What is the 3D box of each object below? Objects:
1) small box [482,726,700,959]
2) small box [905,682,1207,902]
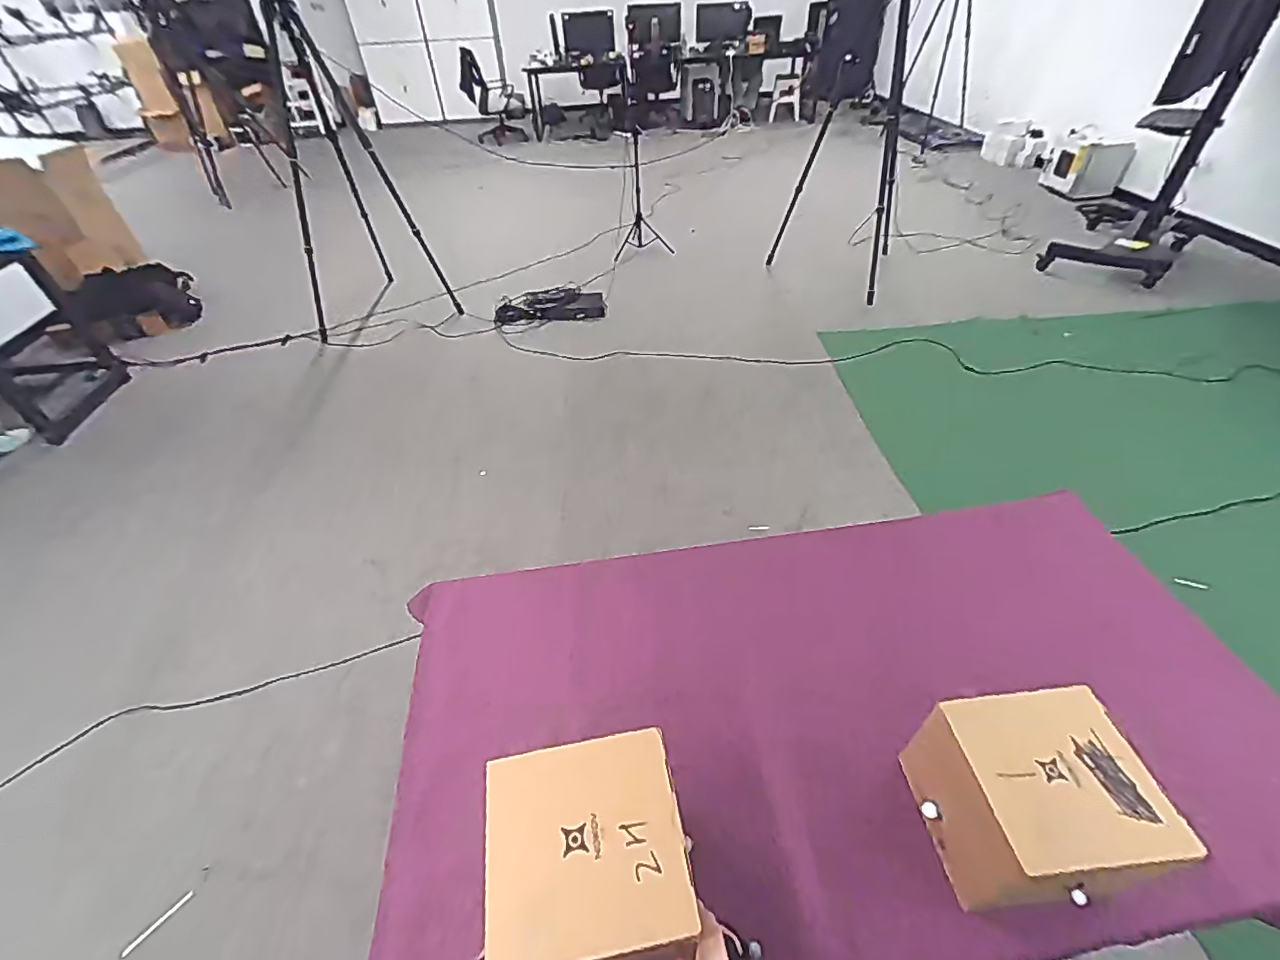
[{"bbox_3d":[-0.046,0.369,0.532,0.179,0.176,0.168,-9,48,-6],"label":"small box"},{"bbox_3d":[0.431,0.347,0.602,0.179,0.176,0.168,-6,43,-1],"label":"small box"}]
